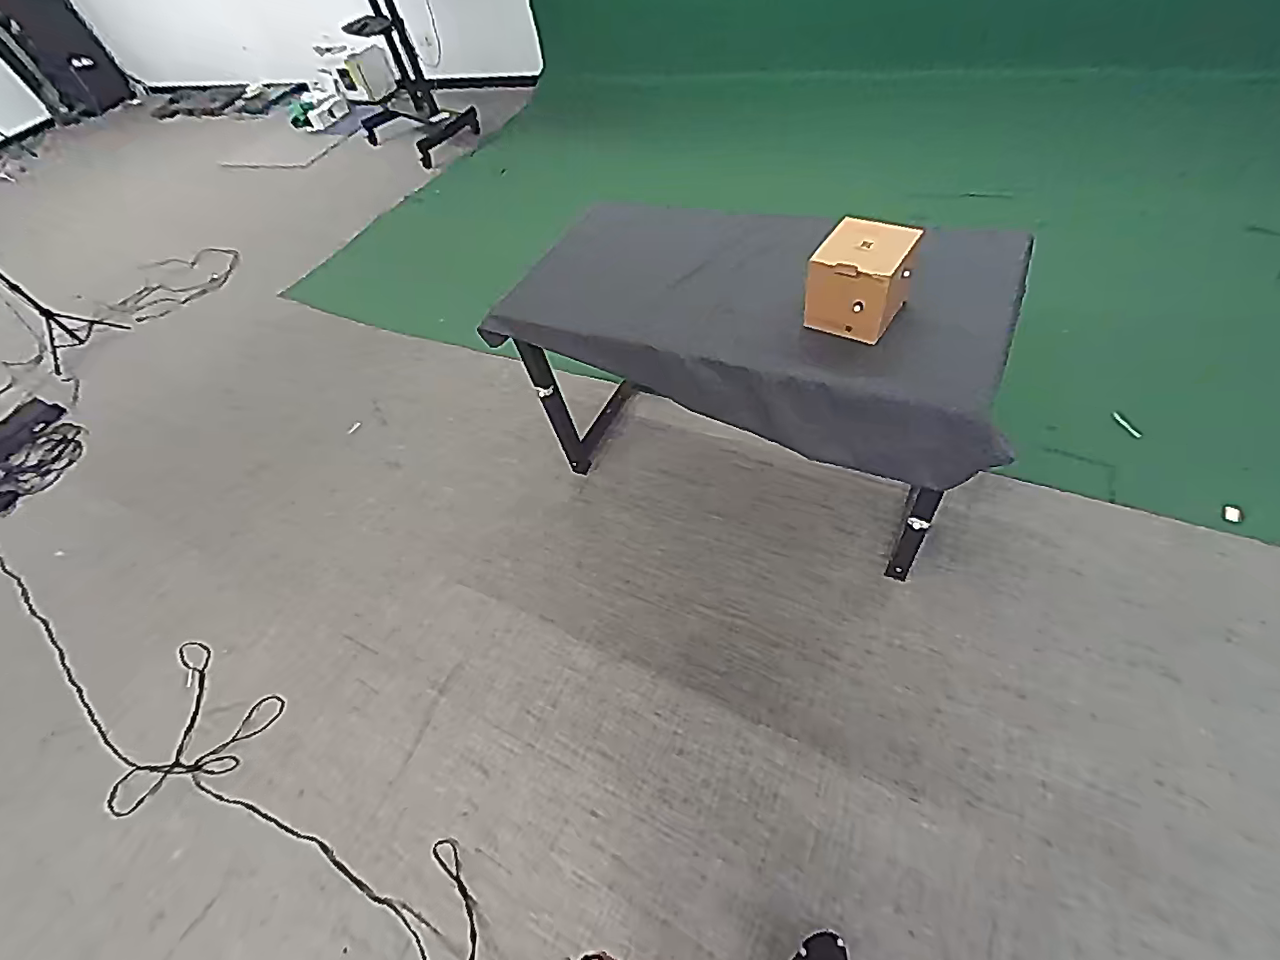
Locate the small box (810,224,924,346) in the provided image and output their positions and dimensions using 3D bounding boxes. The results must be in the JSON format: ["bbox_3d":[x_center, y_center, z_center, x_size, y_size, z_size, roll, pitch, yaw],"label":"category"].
[{"bbox_3d":[0.480,-0.417,1.166,0.168,0.176,0.179,27,62,27],"label":"small box"}]
